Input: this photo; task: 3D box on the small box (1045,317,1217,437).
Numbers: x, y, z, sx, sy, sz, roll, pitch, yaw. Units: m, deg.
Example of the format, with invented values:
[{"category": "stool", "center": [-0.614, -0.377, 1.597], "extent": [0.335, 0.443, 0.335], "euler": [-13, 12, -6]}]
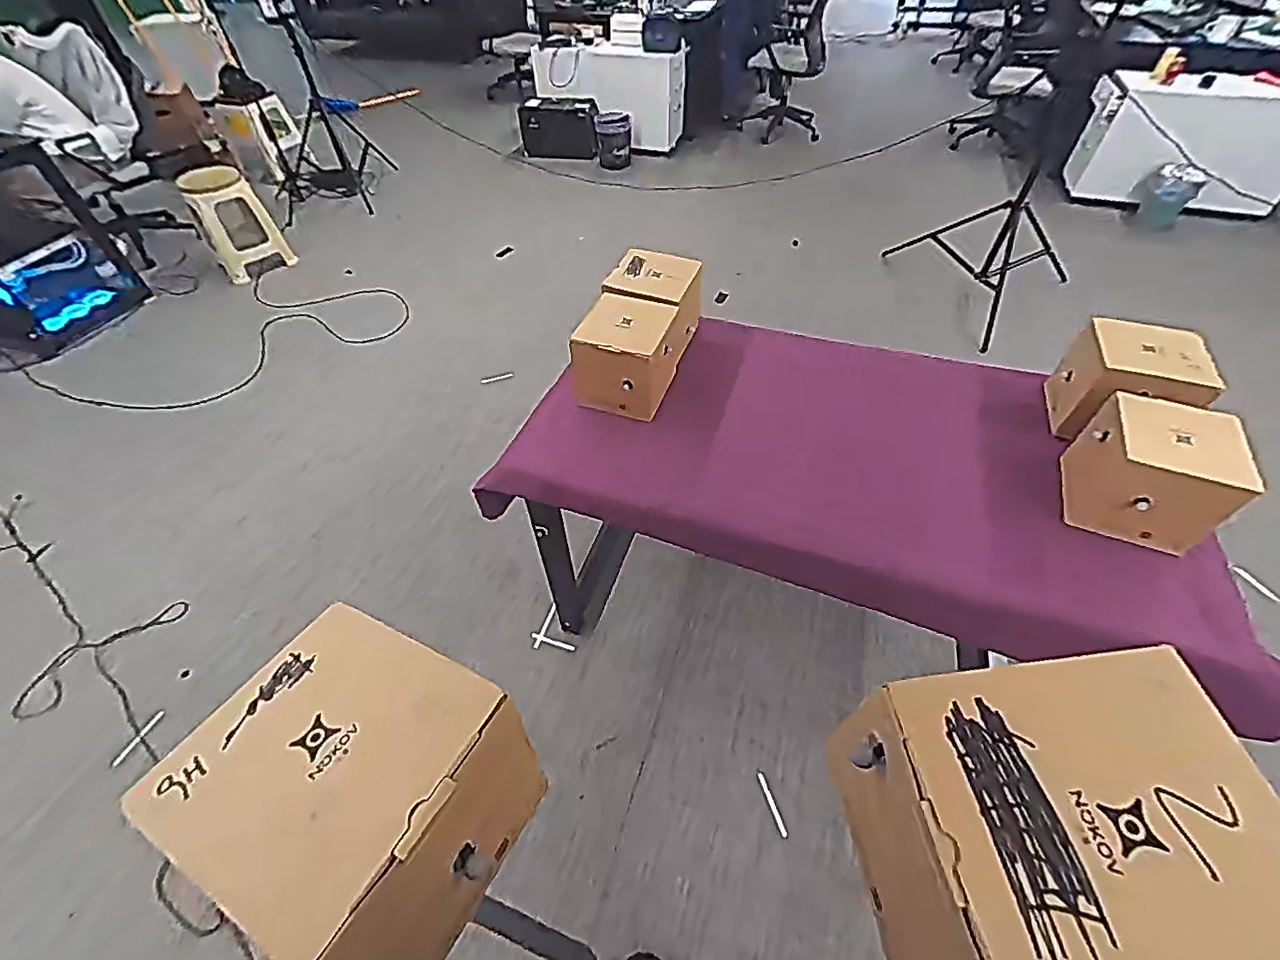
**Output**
[{"category": "small box", "center": [0.902, -0.180, 1.021], "extent": [0.179, 0.176, 0.168], "euler": [16, 53, 13]}]

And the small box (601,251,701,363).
[{"category": "small box", "center": [0.026, -0.388, 1.221], "extent": [0.179, 0.176, 0.168], "euler": [17, 54, 13]}]

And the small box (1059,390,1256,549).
[{"category": "small box", "center": [0.828, -0.015, 0.890], "extent": [0.168, 0.176, 0.179], "euler": [18, 51, 17]}]

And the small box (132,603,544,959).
[{"category": "small box", "center": [-0.192, 0.229, 0.400], "extent": [0.179, 0.176, 0.168], "euler": [19, 47, 21]}]
